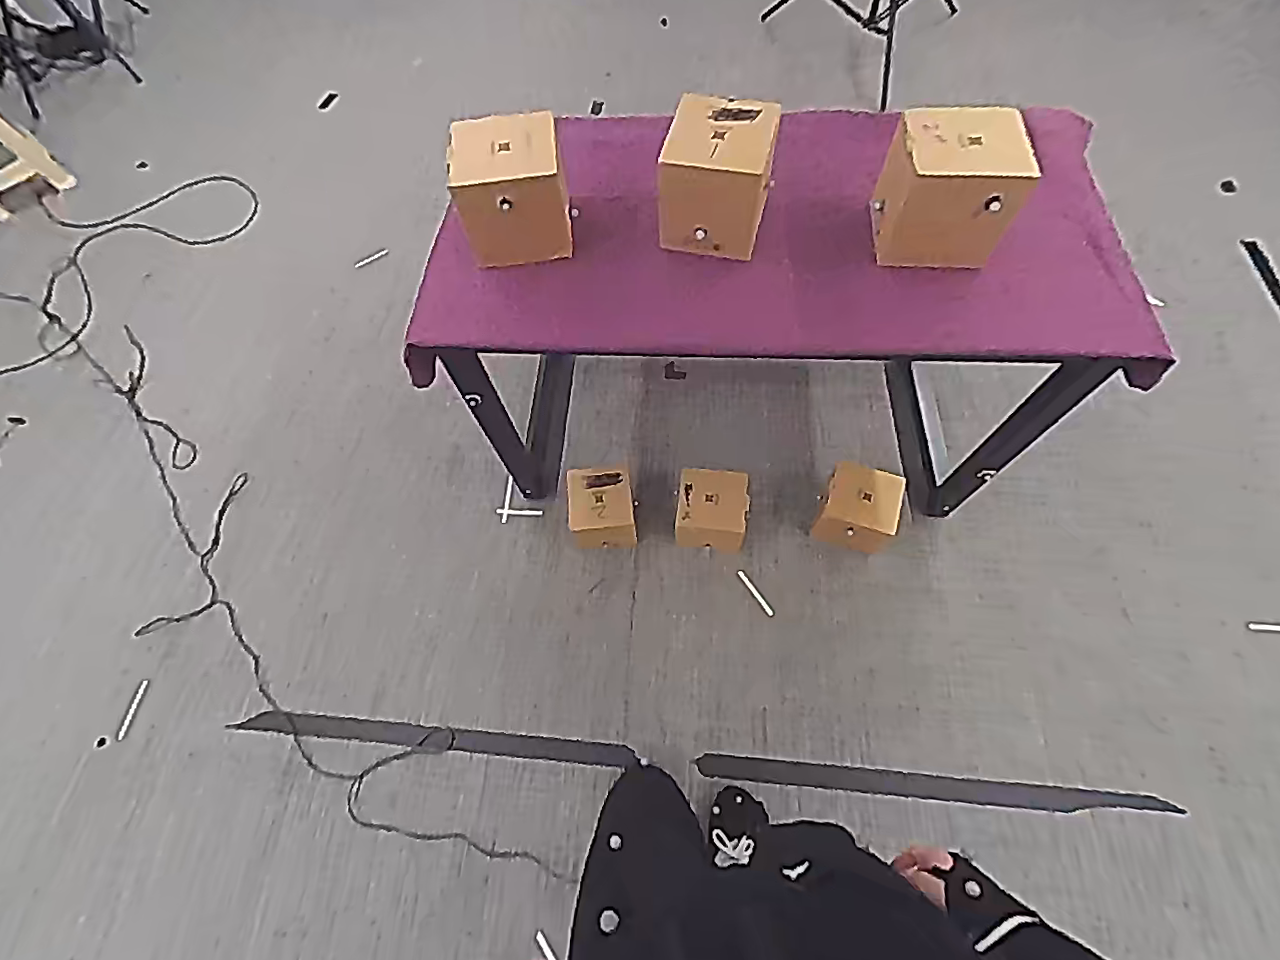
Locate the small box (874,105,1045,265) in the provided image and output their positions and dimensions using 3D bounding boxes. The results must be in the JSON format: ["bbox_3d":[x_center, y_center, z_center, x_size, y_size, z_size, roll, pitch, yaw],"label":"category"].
[{"bbox_3d":[0.501,-0.470,0.877,0.179,0.176,0.168,4,64,6],"label":"small box"}]

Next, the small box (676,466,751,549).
[{"bbox_3d":[0.192,0.079,1.446,0.179,0.176,0.168,6,65,7],"label":"small box"}]

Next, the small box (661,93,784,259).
[{"bbox_3d":[0.136,-0.513,0.922,0.168,0.176,0.179,13,67,10],"label":"small box"}]

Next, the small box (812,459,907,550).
[{"bbox_3d":[0.572,0.072,1.425,0.179,0.176,0.168,18,68,13],"label":"small box"}]

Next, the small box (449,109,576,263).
[{"bbox_3d":[-0.215,-0.503,0.941,0.179,0.176,0.168,-7,66,-1],"label":"small box"}]
